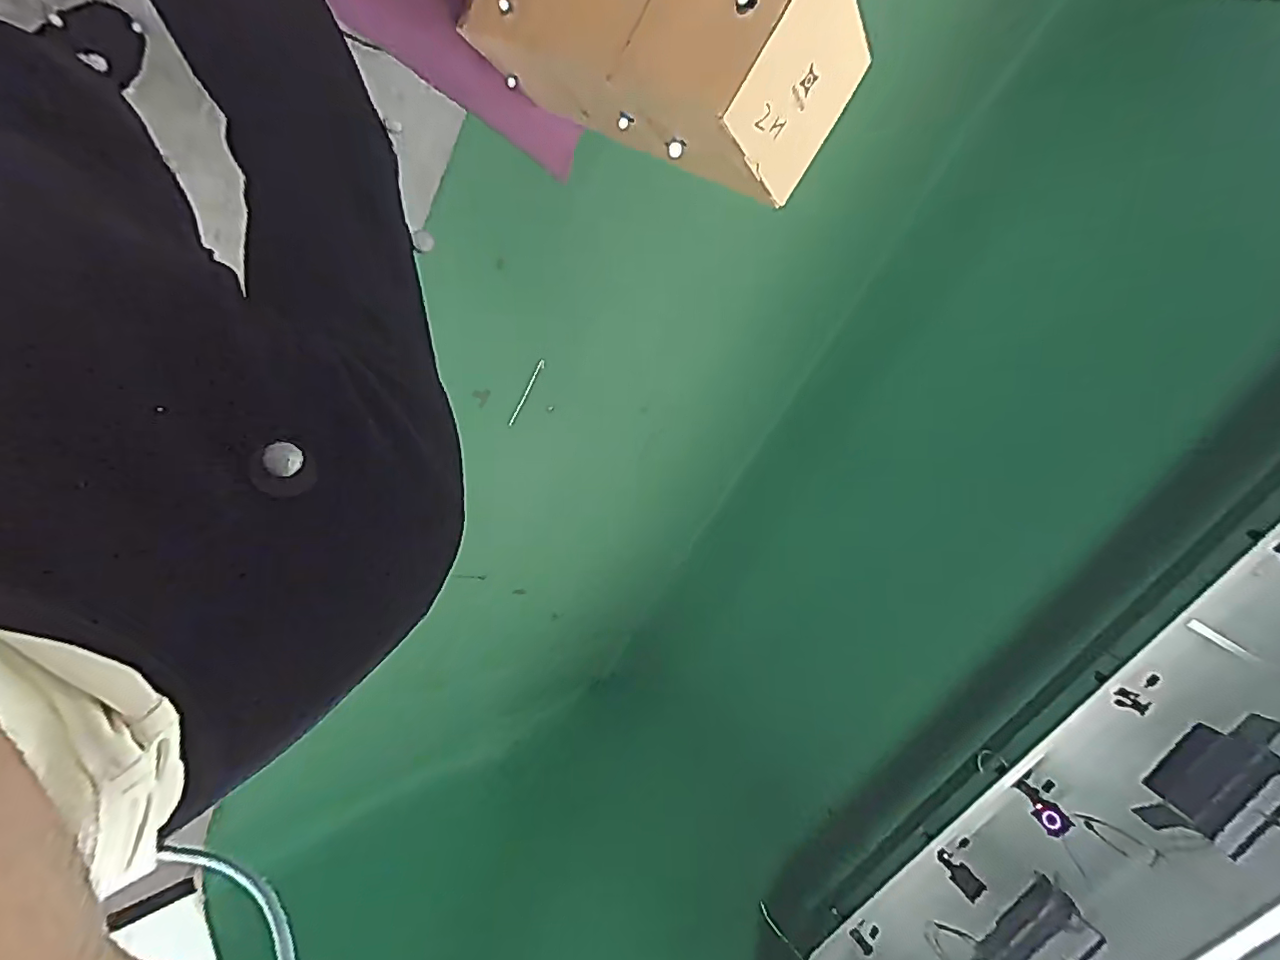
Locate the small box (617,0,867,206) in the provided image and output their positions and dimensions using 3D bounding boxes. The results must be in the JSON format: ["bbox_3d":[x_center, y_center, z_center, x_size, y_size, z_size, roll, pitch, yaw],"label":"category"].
[{"bbox_3d":[0.106,-0.442,0.580,0.168,0.176,0.179,10,117,-57],"label":"small box"}]

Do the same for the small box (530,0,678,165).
[{"bbox_3d":[-0.004,-0.535,0.660,0.168,0.176,0.179,9,117,-56],"label":"small box"}]
